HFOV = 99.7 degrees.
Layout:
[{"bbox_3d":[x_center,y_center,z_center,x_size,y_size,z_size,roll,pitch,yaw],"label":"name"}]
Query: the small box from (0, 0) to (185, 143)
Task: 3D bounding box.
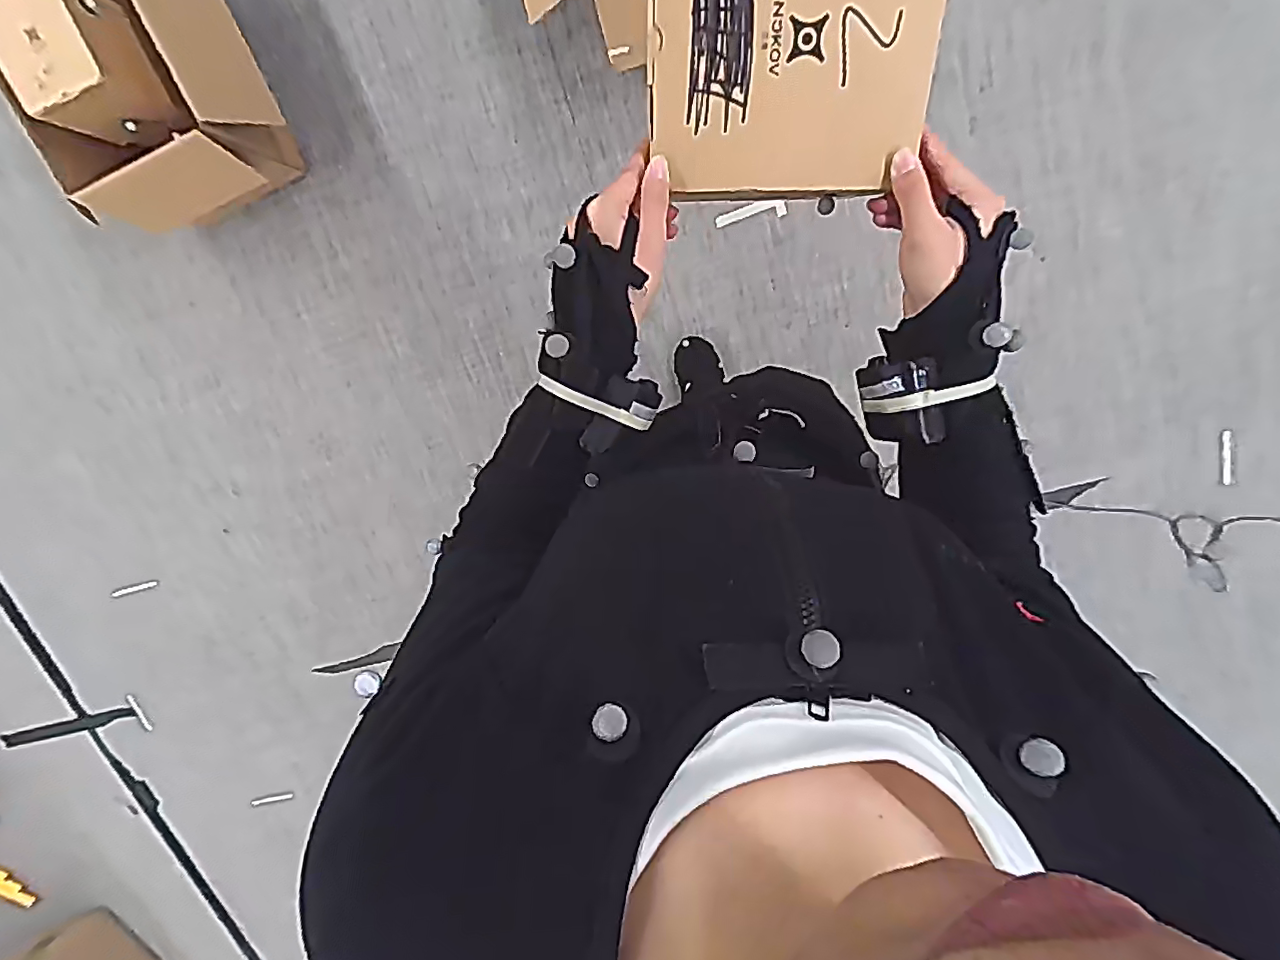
[{"bbox_3d":[-0.997,-0.752,0.978,0.168,0.176,0.179,-17,105,9],"label":"small box"}]
